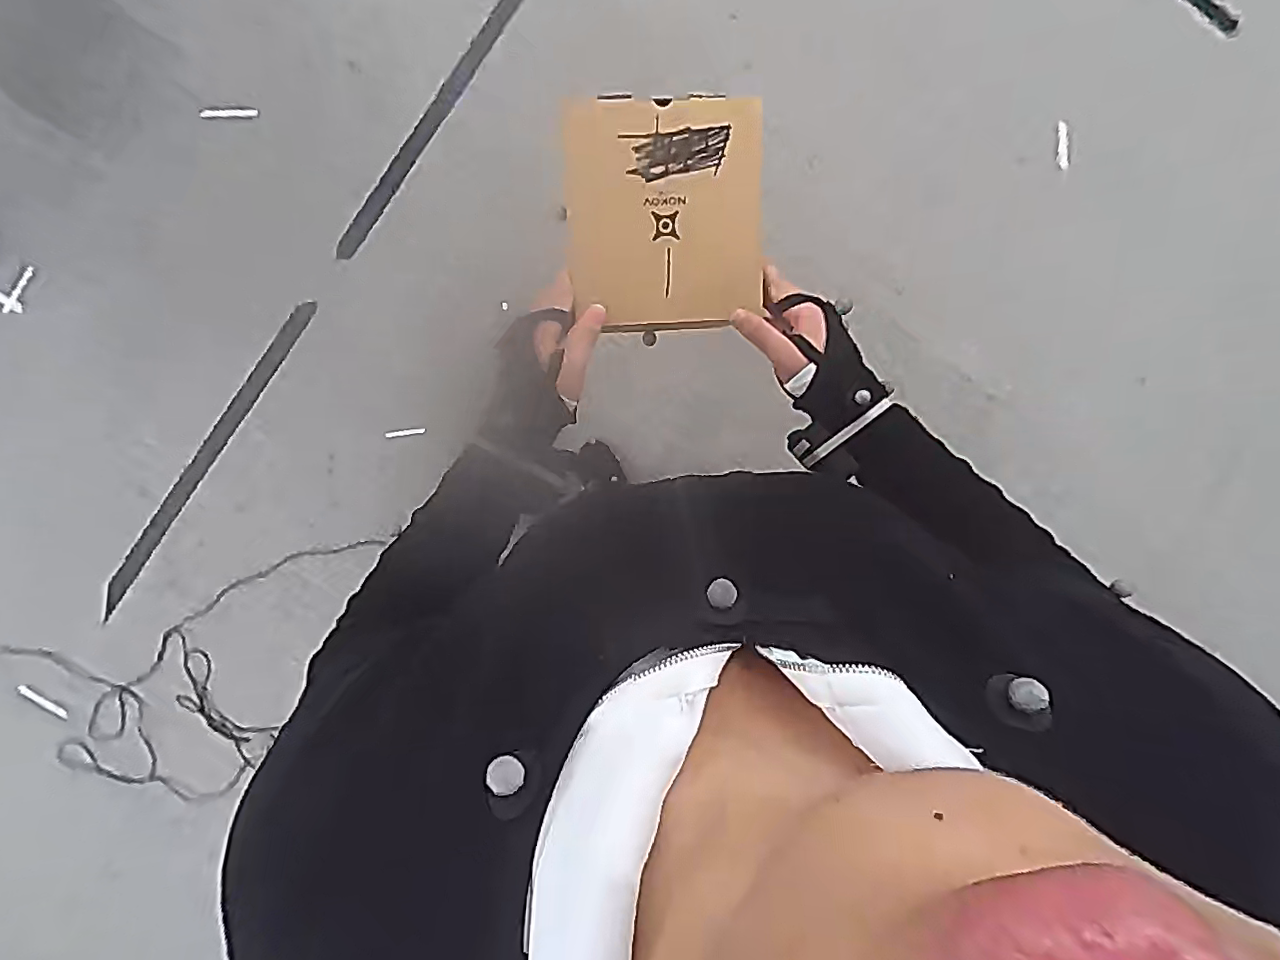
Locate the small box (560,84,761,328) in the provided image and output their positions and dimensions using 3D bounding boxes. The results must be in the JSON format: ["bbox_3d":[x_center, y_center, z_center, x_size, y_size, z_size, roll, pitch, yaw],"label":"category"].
[{"bbox_3d":[0.013,-0.247,0.527,0.168,0.176,0.179,-5,104,-4],"label":"small box"}]
